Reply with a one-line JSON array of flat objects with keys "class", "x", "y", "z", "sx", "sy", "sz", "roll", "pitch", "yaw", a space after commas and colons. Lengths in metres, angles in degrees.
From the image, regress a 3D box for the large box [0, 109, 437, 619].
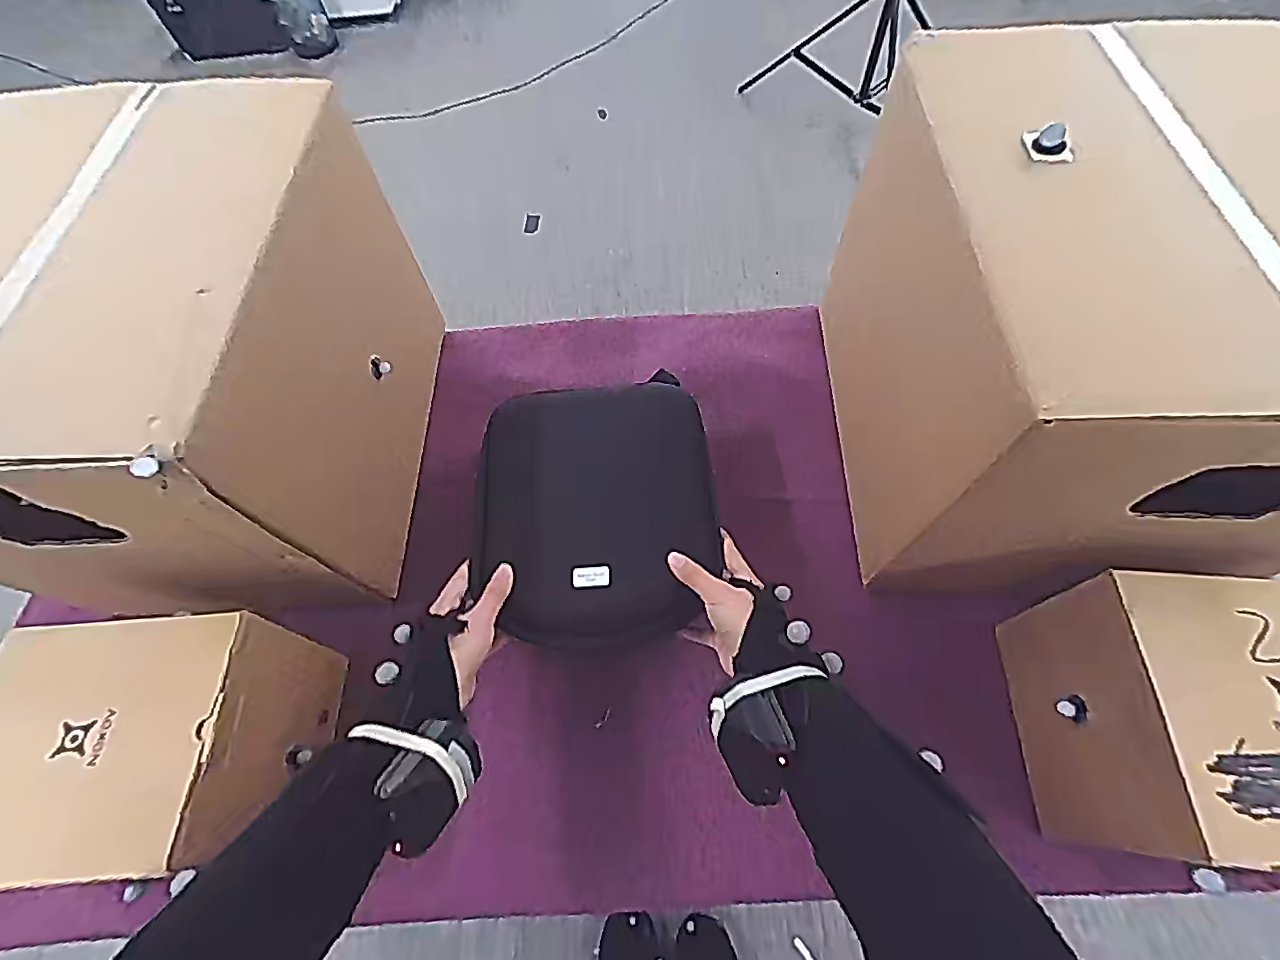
[{"class": "large box", "x": -0.425, "y": -0.097, "z": 0.550, "sx": 0.320, "sy": 0.320, "sz": 0.408, "roll": -4, "pitch": 63, "yaw": 1}]
